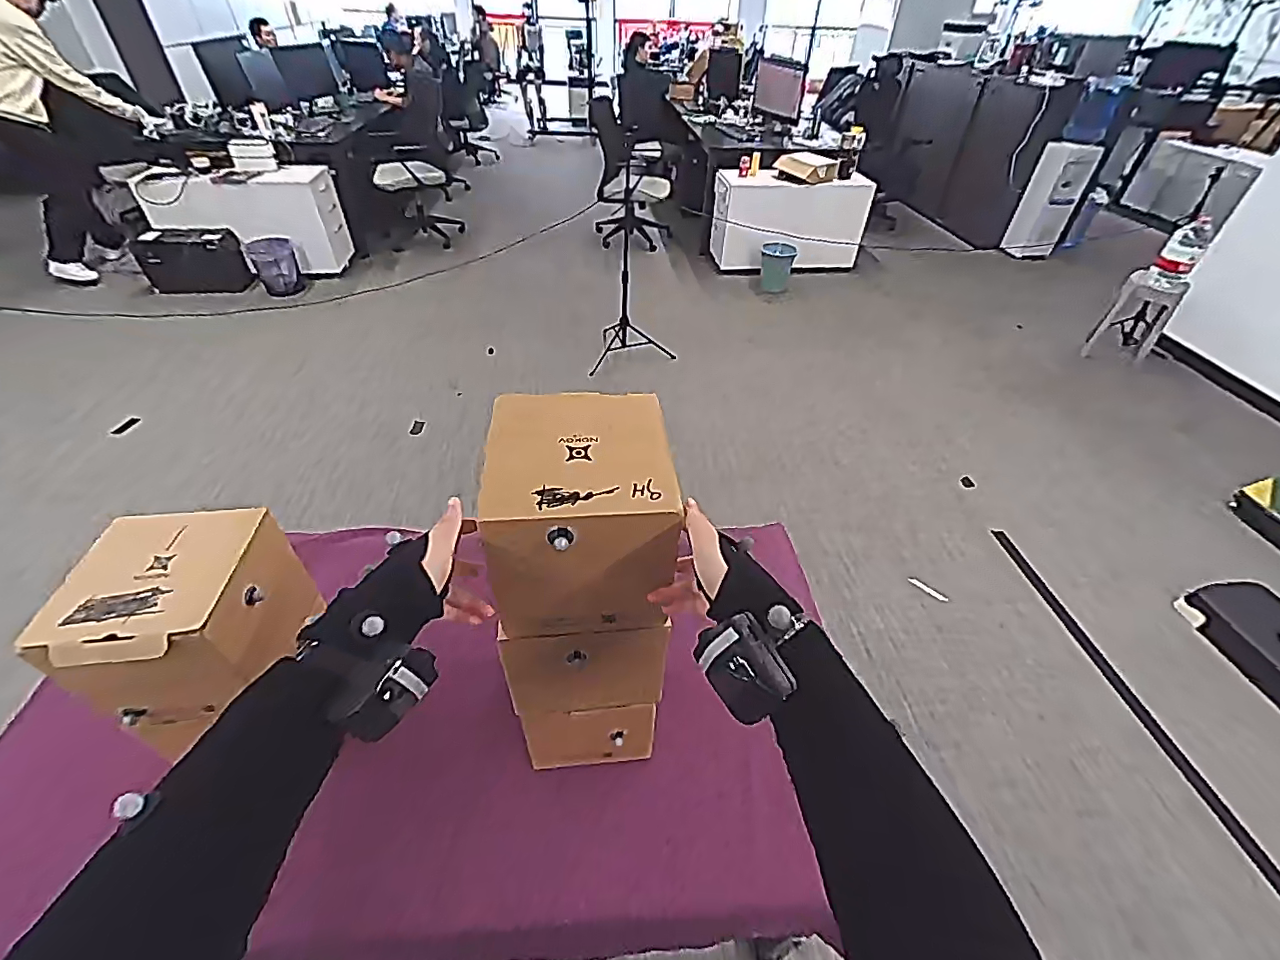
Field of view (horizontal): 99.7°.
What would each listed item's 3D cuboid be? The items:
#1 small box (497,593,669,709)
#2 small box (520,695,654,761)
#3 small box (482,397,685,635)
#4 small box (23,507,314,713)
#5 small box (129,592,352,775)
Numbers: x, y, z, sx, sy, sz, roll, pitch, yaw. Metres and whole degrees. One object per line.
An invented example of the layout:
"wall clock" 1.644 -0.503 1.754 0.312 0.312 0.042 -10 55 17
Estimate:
"small box" -0.066 0.158 0.650 0.179 0.176 0.168 -2 43 -6
"small box" -0.071 0.277 0.762 0.168 0.176 0.179 -2 42 -5
"small box" -0.055 0.033 0.544 0.168 0.176 0.179 -2 42 -5
"small box" -0.515 0.155 0.632 0.168 0.176 0.179 -3 42 -7
"small box" -0.520 0.277 0.742 0.168 0.176 0.179 -2 43 -6
